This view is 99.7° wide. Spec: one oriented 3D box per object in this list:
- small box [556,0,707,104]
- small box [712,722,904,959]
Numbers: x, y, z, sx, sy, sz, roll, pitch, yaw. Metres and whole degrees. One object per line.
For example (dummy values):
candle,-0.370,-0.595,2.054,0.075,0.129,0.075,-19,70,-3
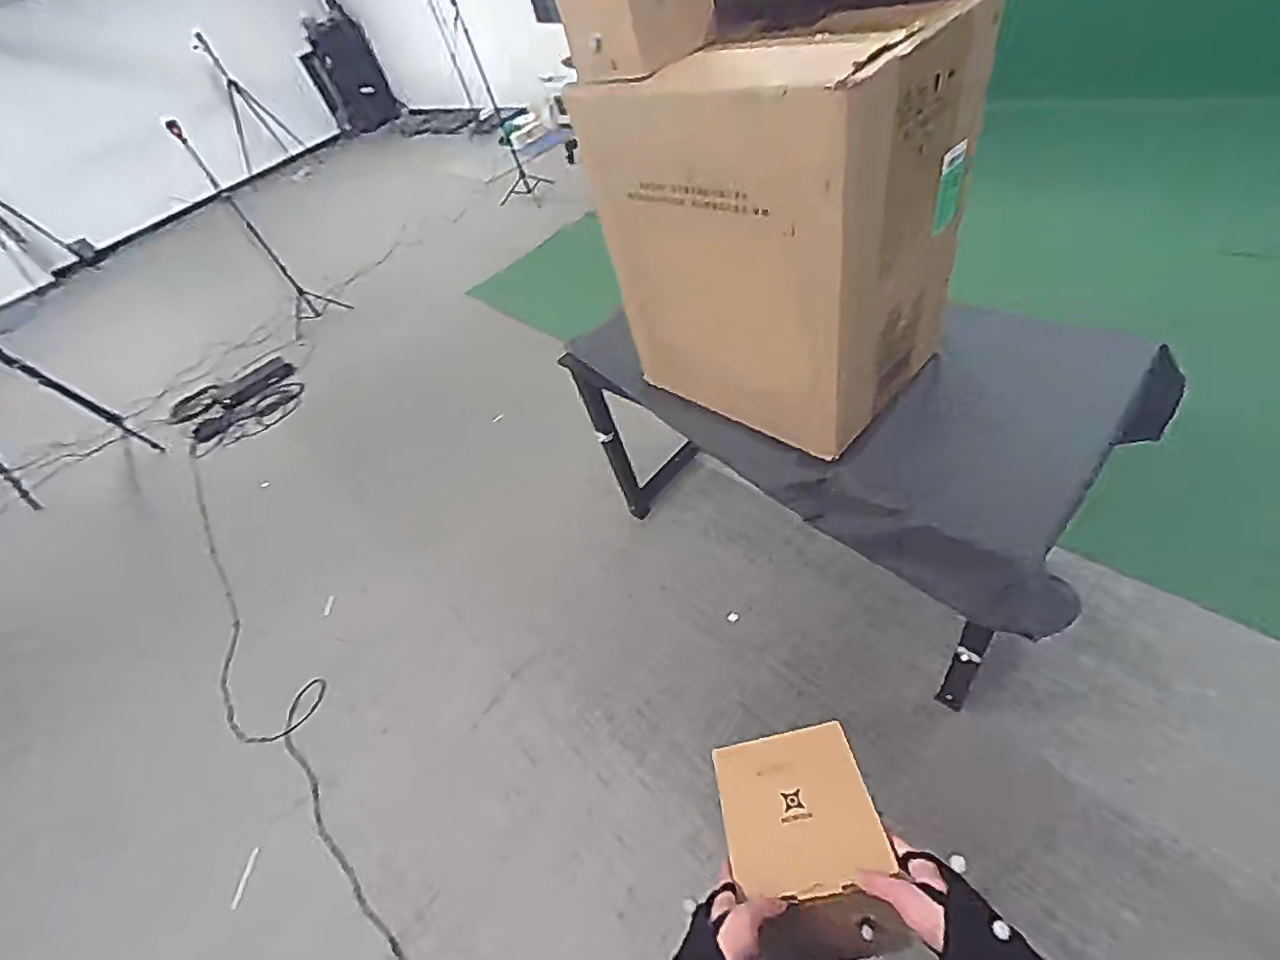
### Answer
small box,-0.010,-0.725,0.861,0.179,0.176,0.168,-42,48,-20
small box,0.195,0.431,0.644,0.168,0.176,0.179,-15,27,6
